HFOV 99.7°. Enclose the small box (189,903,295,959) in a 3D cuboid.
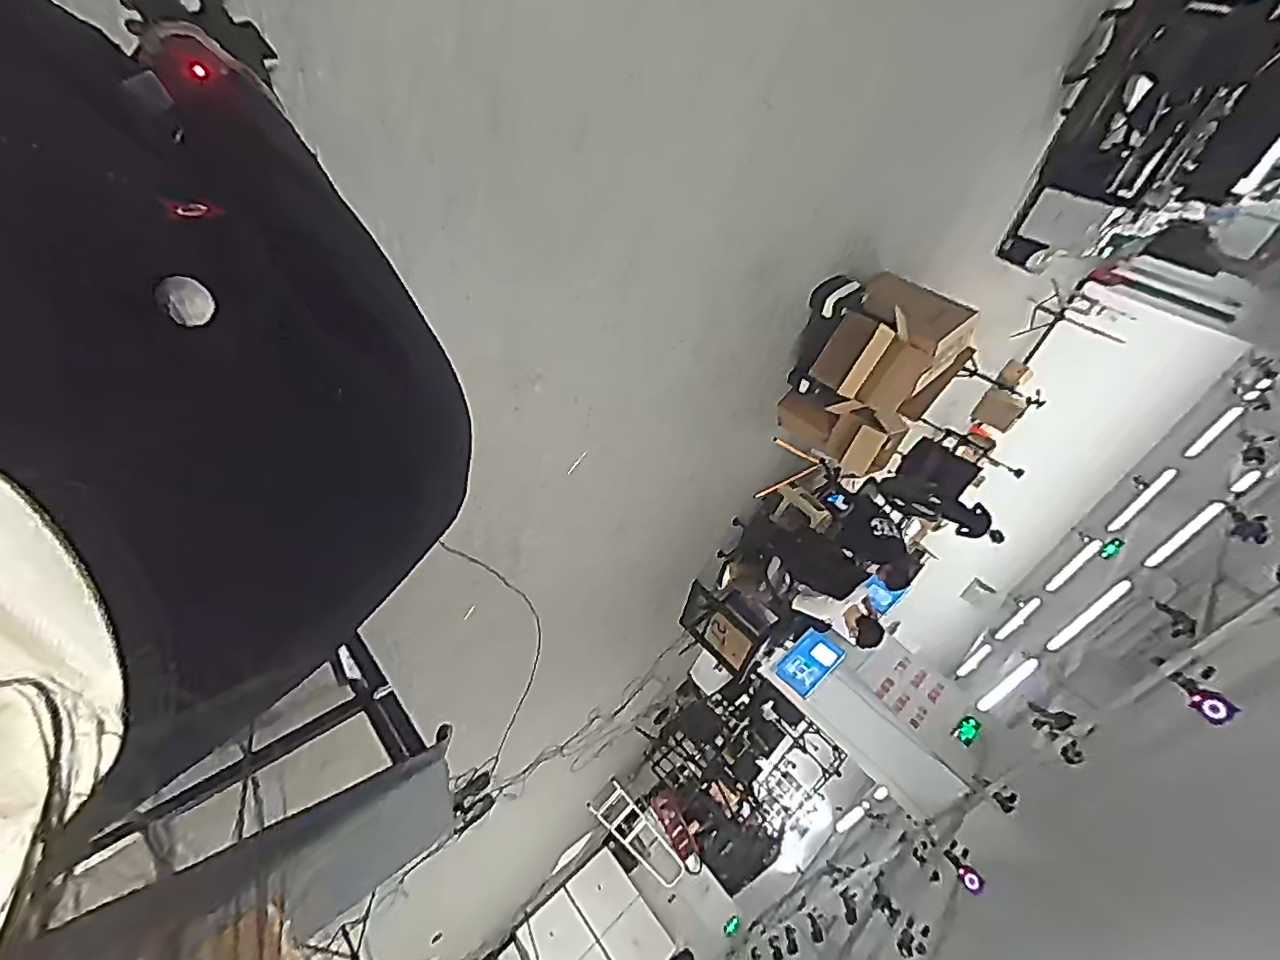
[{"bbox_3d":[-0.955,1.179,1.300,0.179,0.176,0.168,-27,144,-33],"label":"small box"}]
